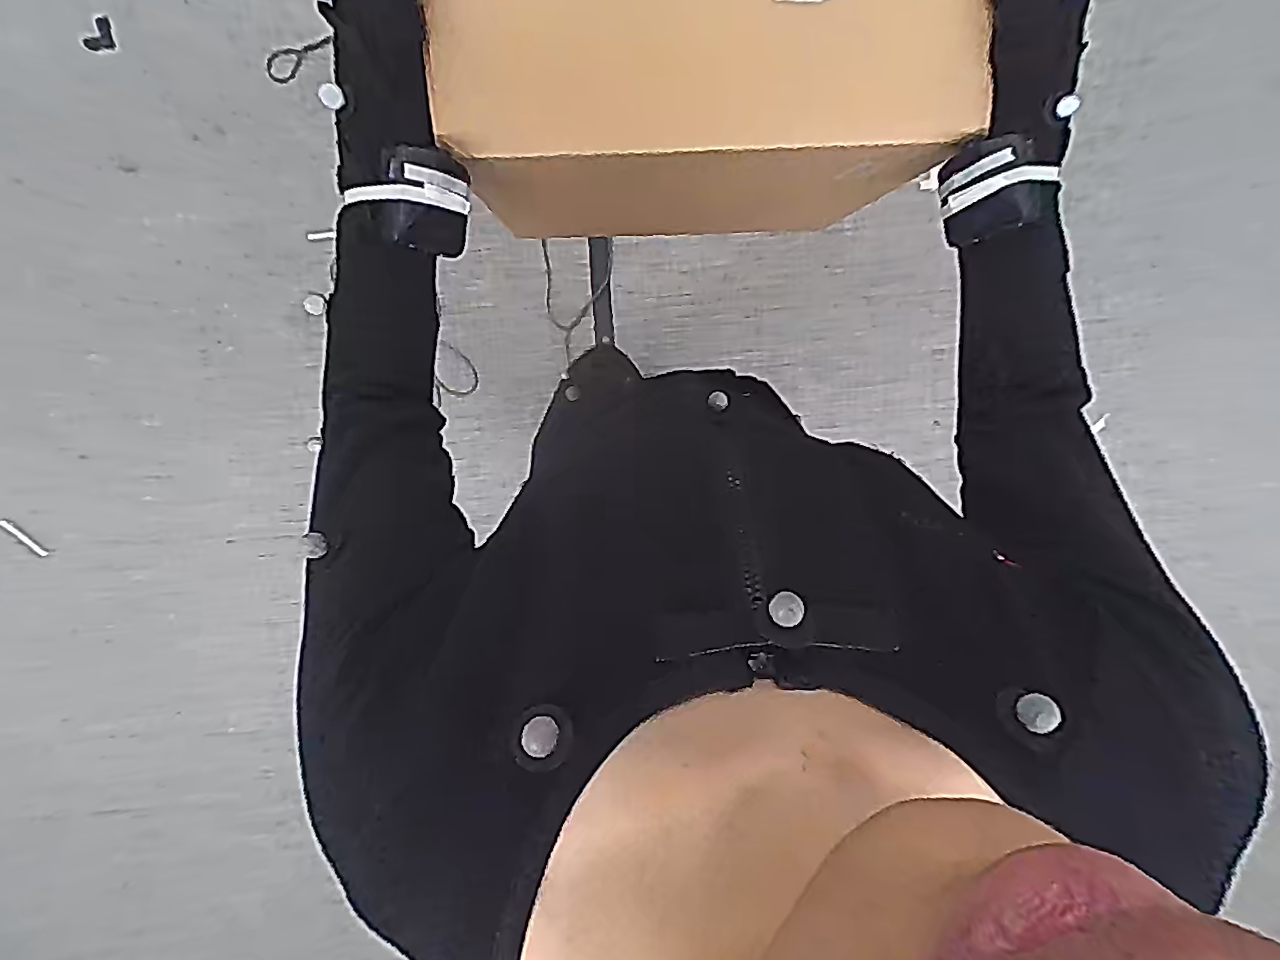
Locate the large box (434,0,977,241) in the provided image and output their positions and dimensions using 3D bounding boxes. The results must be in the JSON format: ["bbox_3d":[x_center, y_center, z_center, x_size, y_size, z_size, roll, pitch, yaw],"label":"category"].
[{"bbox_3d":[0.038,-0.433,0.521,0.408,0.320,0.320,-4,105,-3],"label":"large box"}]
